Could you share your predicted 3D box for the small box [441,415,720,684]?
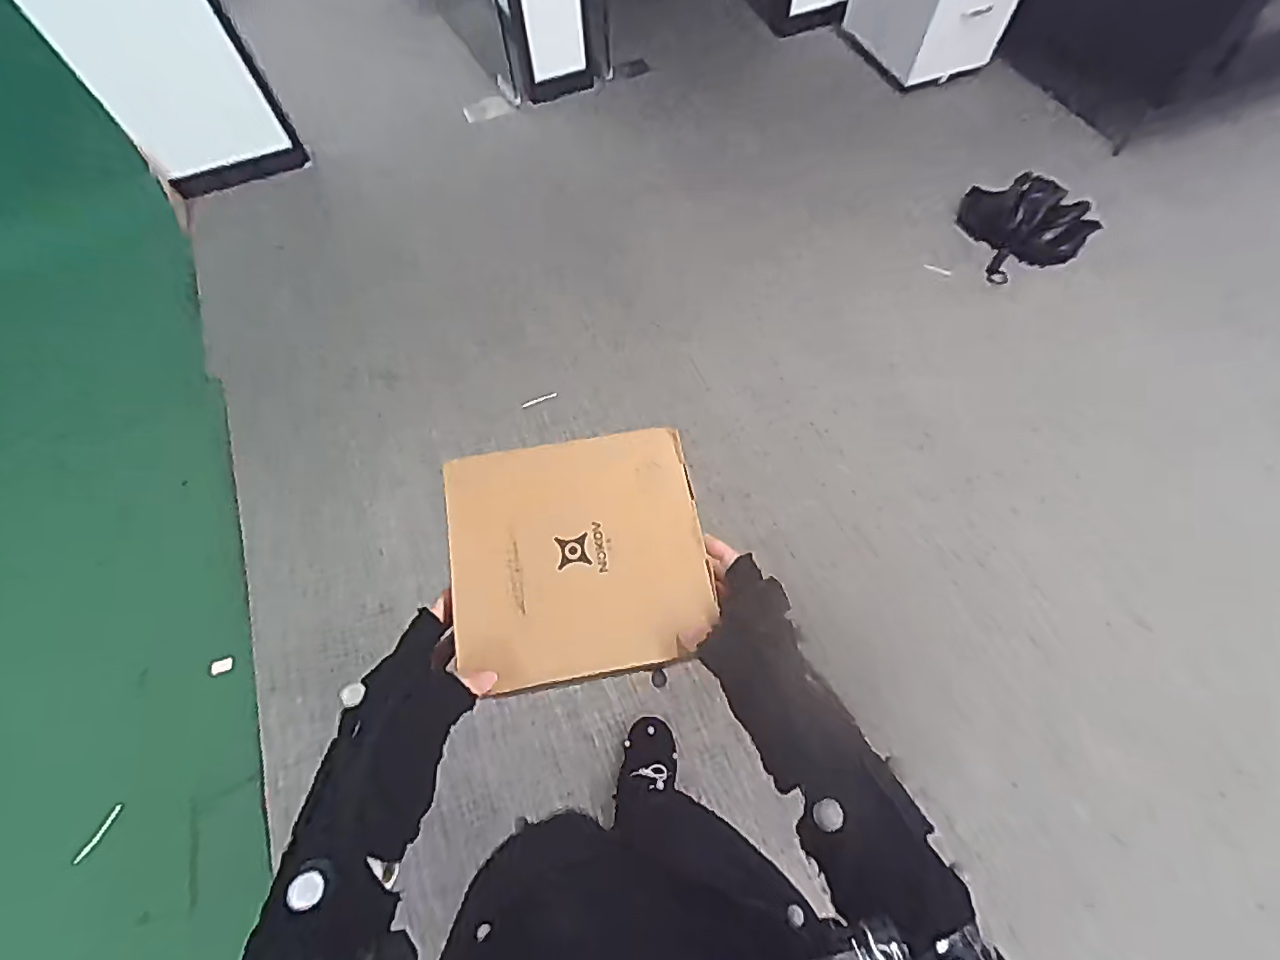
[{"bbox_3d":[-0.048,0.067,0.454,0.179,0.176,0.168,-11,70,-5],"label":"small box"}]
